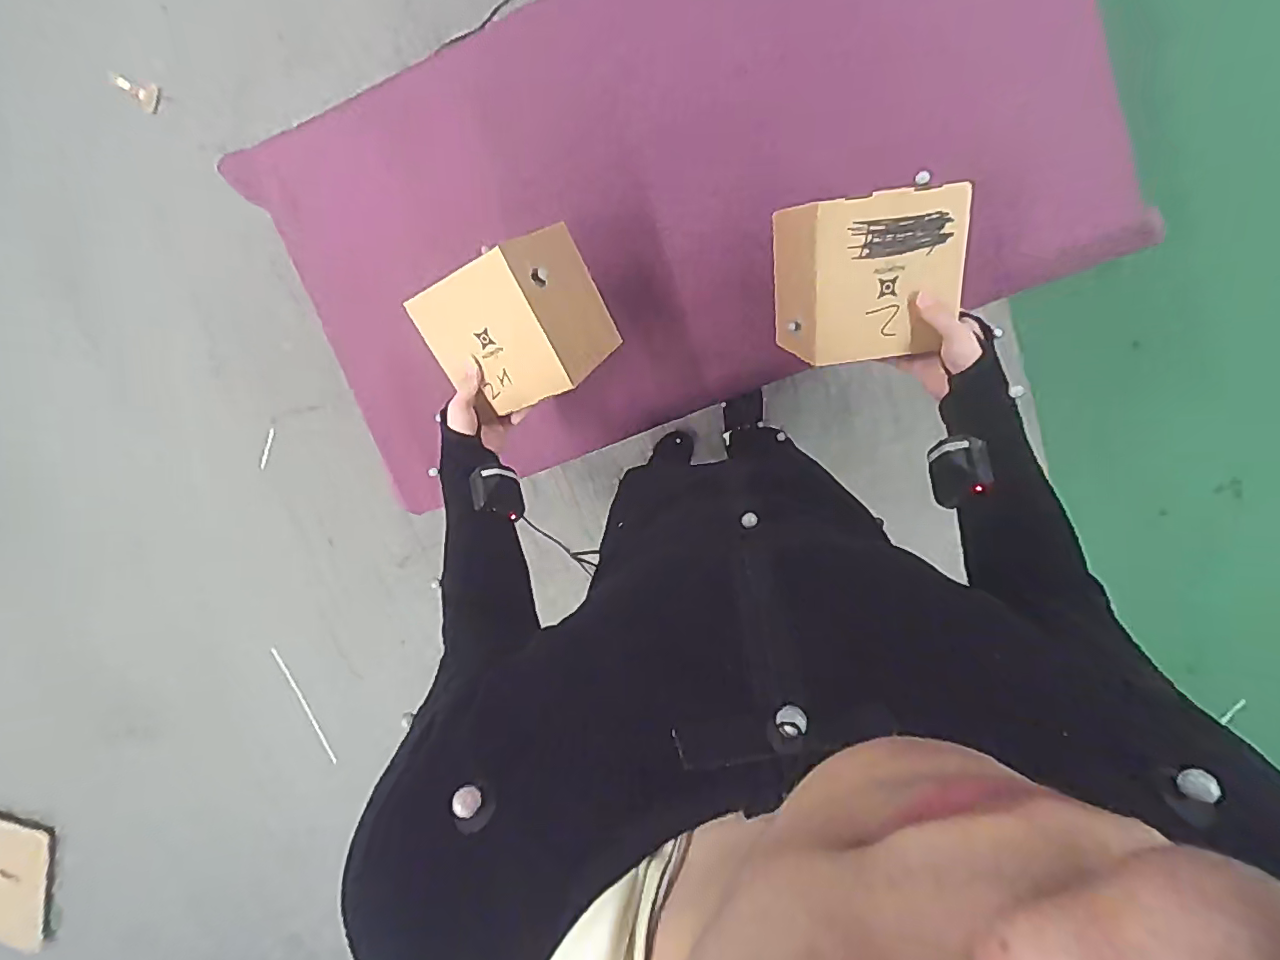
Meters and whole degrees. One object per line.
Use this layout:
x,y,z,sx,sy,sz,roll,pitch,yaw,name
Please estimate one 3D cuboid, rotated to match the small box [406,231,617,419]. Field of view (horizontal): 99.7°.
-0.157,-0.209,0.712,0.168,0.176,0.179,-13,116,30,small box
